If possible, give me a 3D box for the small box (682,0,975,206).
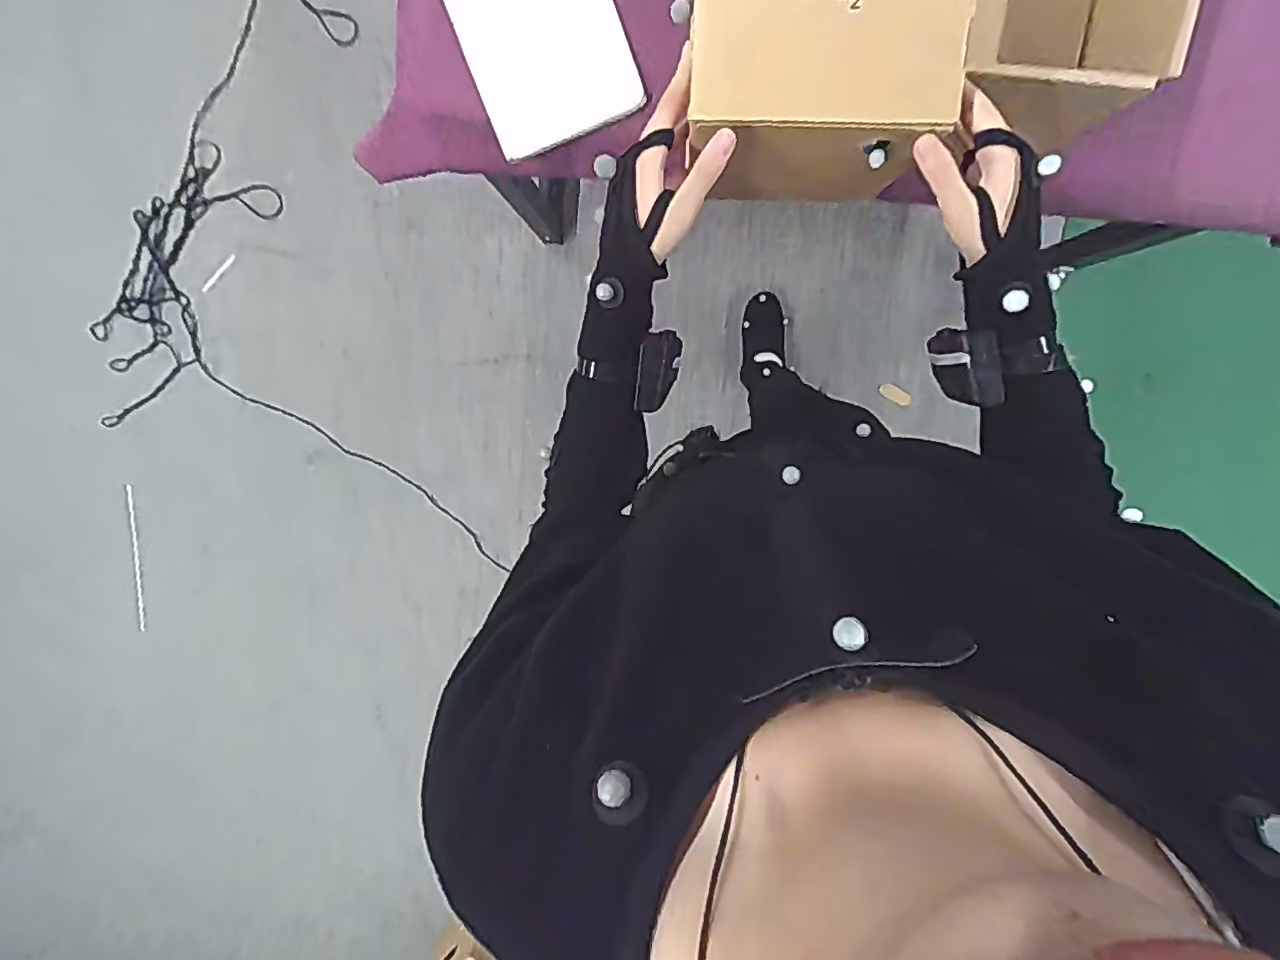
[{"bbox_3d":[0.123,-0.321,0.412,0.179,0.176,0.168,2,102,2],"label":"small box"}]
